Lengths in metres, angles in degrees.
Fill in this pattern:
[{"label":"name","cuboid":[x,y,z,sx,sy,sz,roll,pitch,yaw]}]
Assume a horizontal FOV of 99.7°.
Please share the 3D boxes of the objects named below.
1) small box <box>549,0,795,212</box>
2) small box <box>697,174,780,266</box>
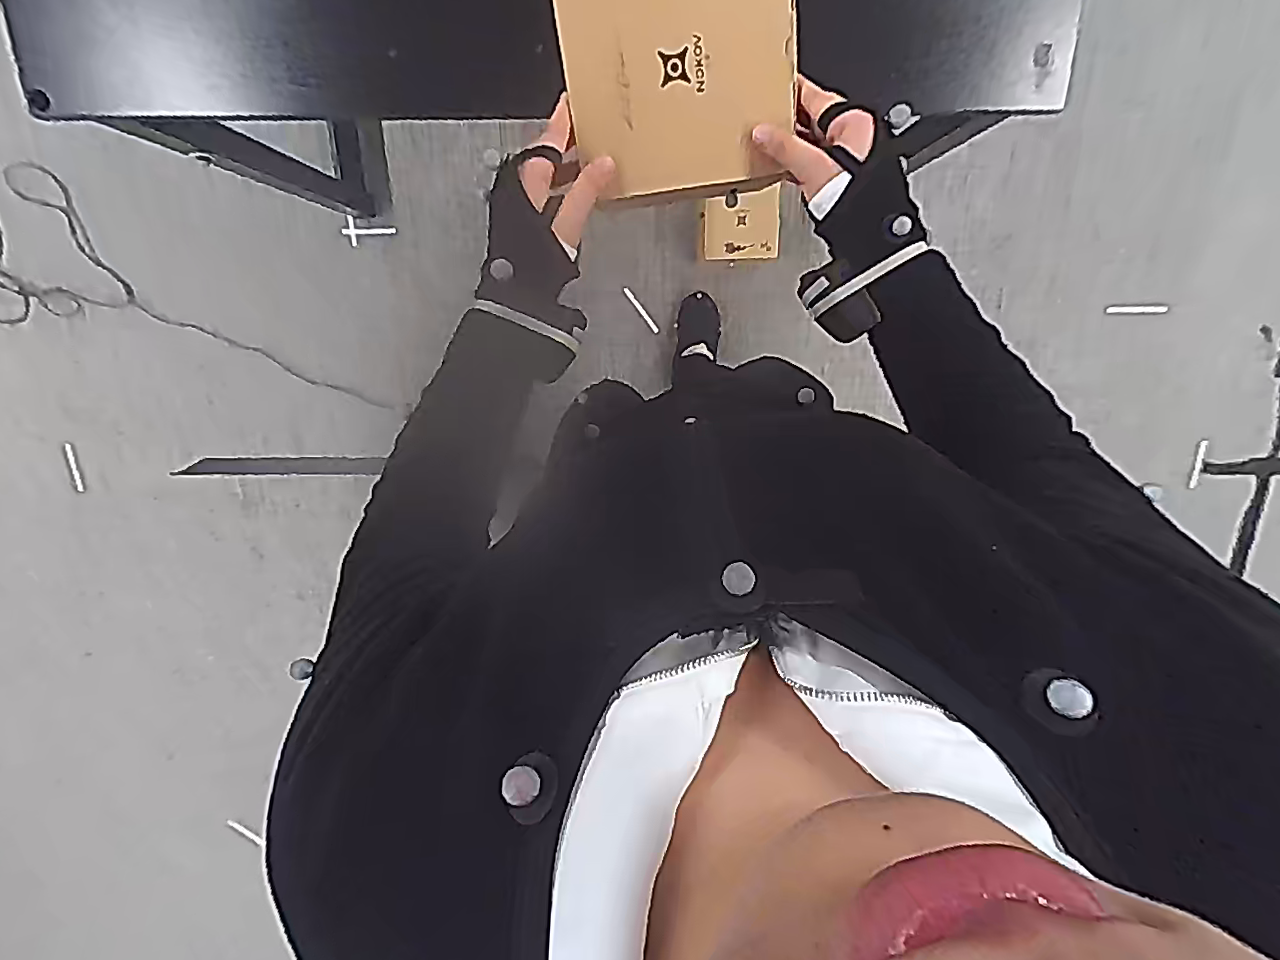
[{"label":"small box","cuboid":[0.028,-0.343,0.477,0.179,0.176,0.168,-7,112,5]},{"label":"small box","cuboid":[0.220,-0.603,1.256,0.168,0.176,0.179,-1,106,1]}]
